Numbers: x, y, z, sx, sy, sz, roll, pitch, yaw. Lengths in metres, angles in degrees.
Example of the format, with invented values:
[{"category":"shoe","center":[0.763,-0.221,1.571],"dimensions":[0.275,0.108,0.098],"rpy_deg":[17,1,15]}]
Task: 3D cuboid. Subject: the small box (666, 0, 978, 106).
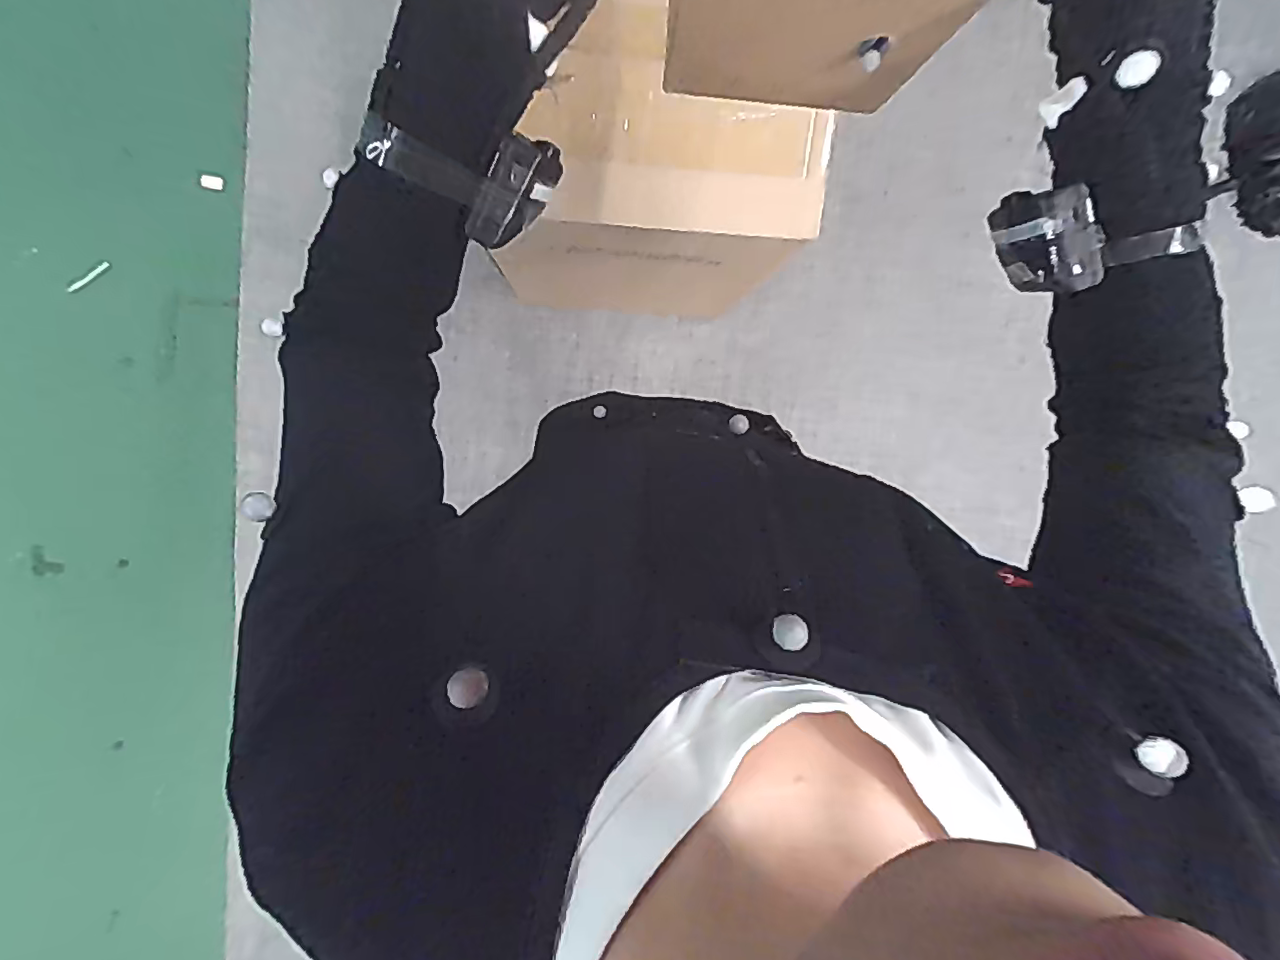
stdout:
[{"category":"small box","center":[0.113,-0.369,0.342],"dimensions":[0.179,0.176,0.168],"rpy_deg":[2,99,-2]}]
